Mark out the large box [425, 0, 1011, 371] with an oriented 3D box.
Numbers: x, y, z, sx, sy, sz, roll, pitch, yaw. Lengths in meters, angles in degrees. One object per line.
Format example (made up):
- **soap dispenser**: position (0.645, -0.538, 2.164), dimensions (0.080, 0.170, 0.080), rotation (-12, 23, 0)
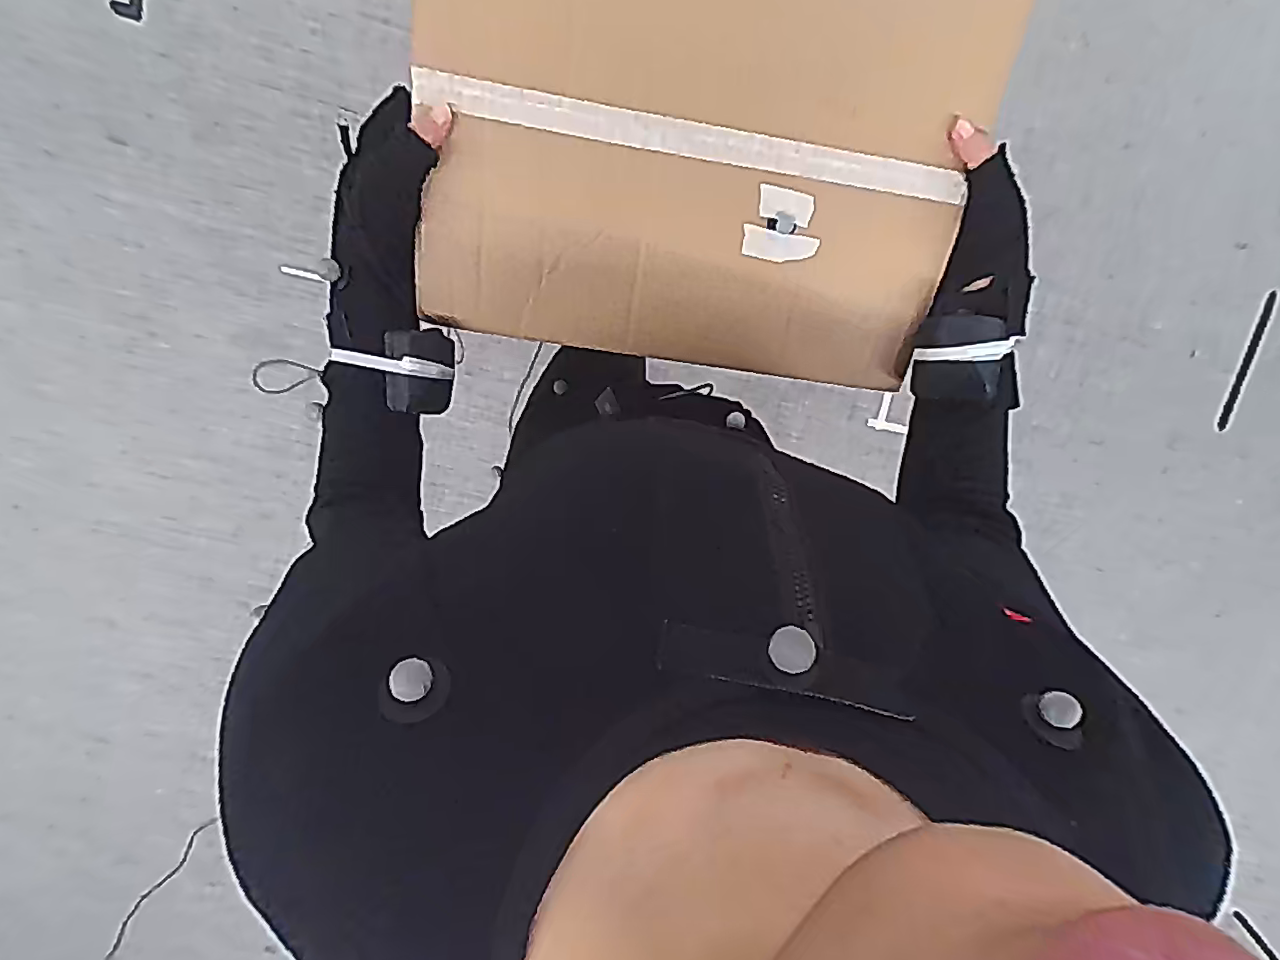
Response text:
- **large box**: position (0.035, -0.315, 0.533), dimensions (0.408, 0.320, 0.320), rotation (7, 115, -8)
